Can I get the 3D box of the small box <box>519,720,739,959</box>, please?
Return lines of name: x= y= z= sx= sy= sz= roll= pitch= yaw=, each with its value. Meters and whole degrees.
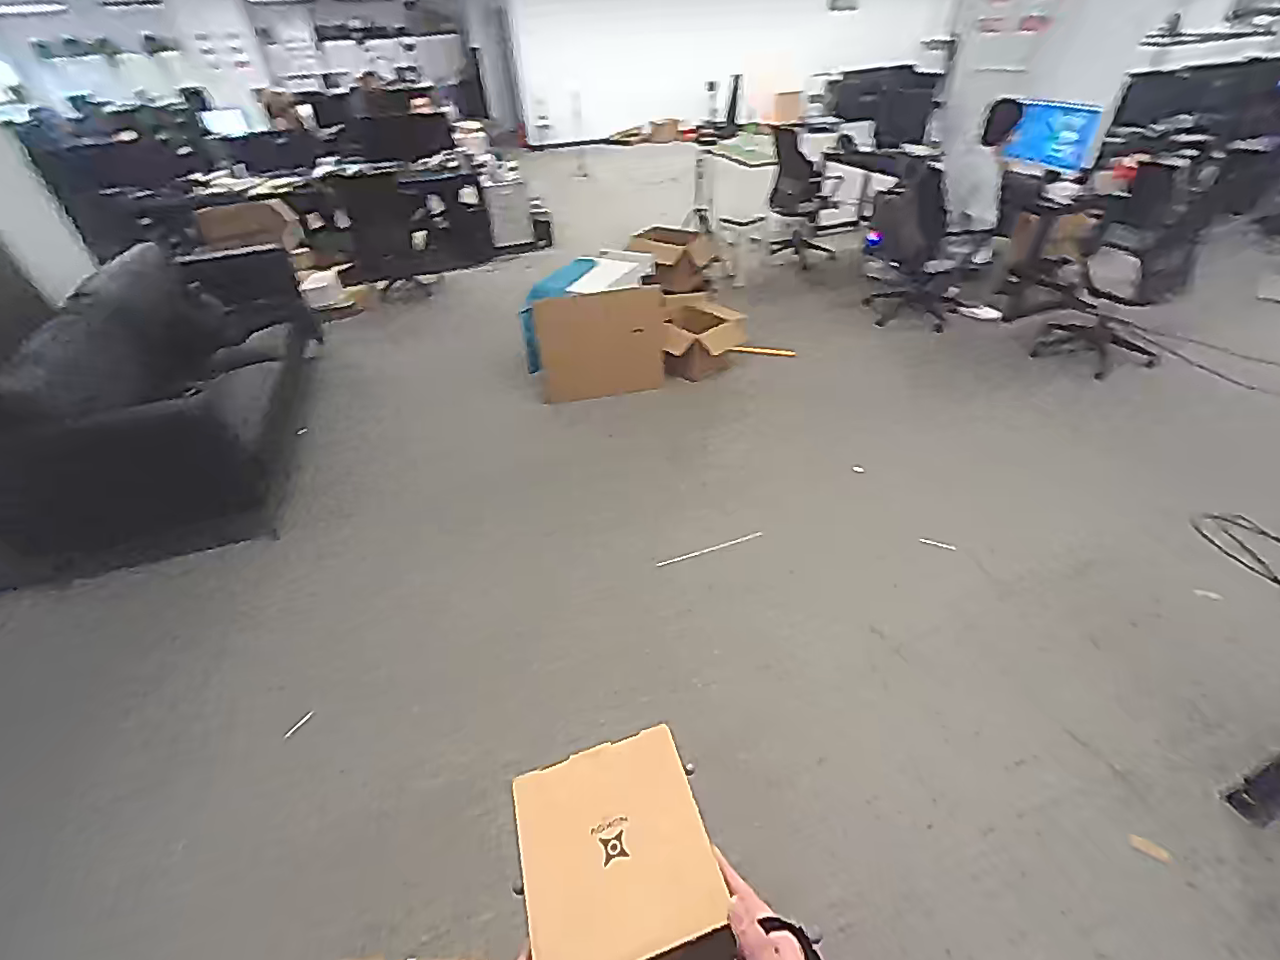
small box: x=-0.010 y=0.380 z=0.530 sx=0.168 sy=0.176 sz=0.179 roll=-15 pitch=38 yaw=-9
